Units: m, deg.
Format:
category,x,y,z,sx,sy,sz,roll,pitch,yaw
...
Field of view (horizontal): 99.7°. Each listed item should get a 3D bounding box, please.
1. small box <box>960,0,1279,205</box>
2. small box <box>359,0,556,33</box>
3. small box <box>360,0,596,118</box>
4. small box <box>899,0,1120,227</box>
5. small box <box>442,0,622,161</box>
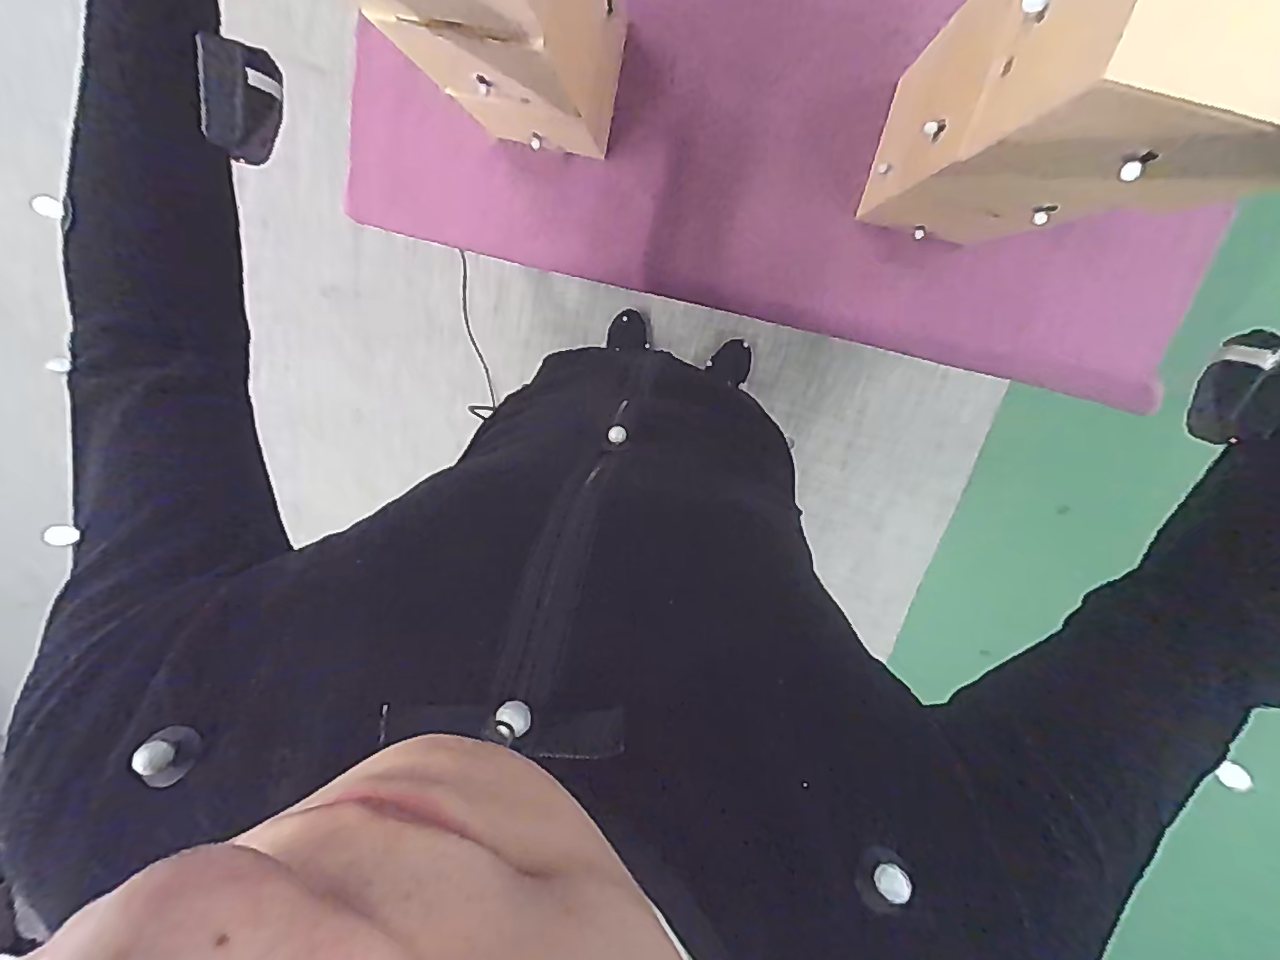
category,x,y,z,sx,sy,sz,roll,pitch,yaw
small box,0.353,-0.292,0.344,0.179,0.176,0.168,16,107,2
small box,-0.156,-0.442,0.363,0.179,0.176,0.168,11,108,4
small box,-0.140,-0.487,0.519,0.168,0.176,0.179,12,108,2
small box,0.365,-0.349,0.498,0.168,0.176,0.179,14,107,2
small box,-0.123,-0.531,0.674,0.168,0.176,0.179,14,107,3
